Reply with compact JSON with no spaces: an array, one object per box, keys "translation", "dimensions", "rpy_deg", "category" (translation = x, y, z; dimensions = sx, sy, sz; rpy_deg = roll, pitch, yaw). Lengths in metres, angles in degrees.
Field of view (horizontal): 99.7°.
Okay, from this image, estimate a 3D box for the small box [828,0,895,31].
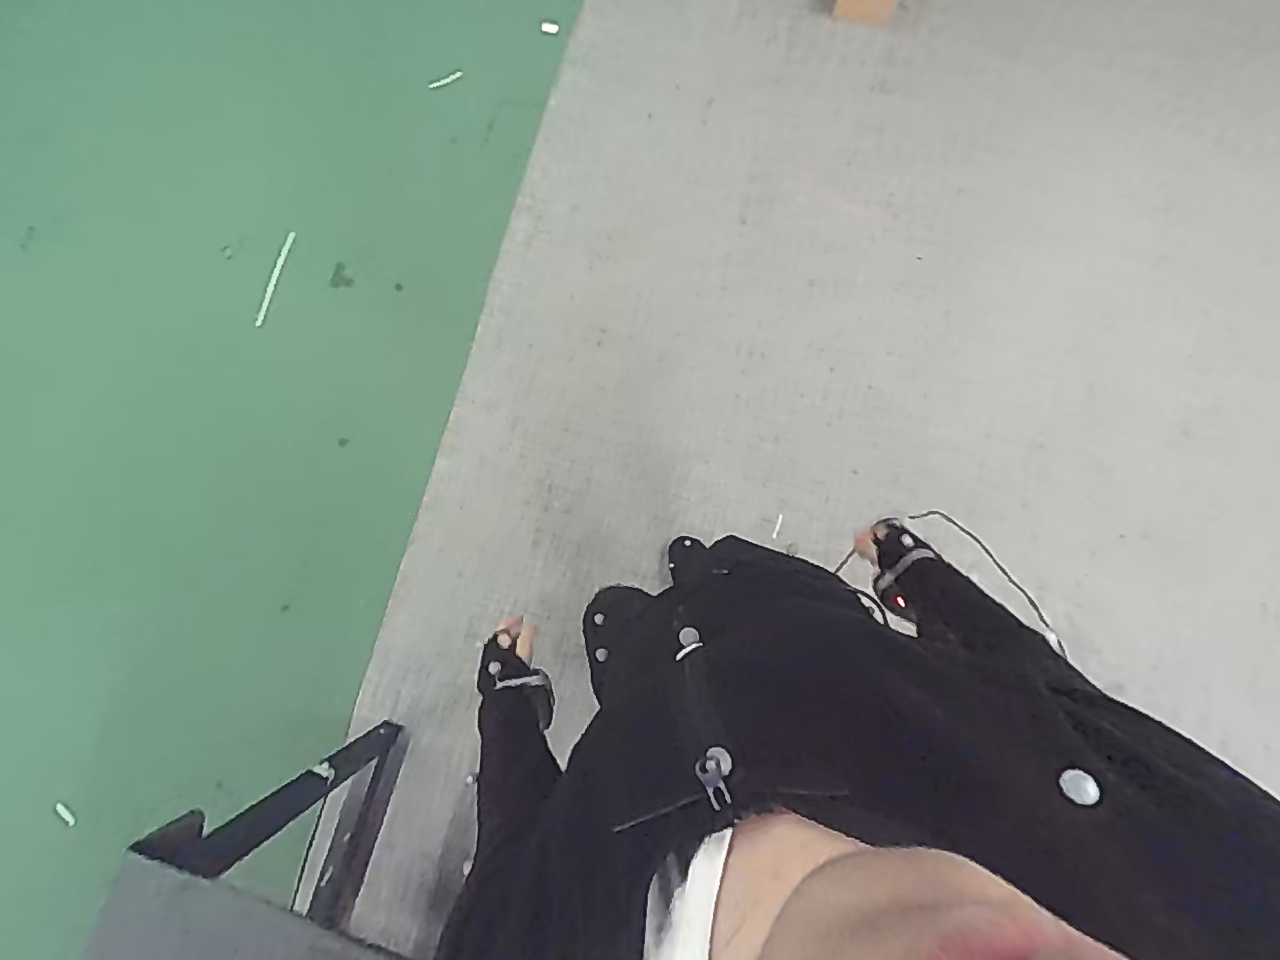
[{"translation":[0.687,-1.502,1.624],"dimensions":[0.179,0.176,0.168],"rpy_deg":[11,83,4],"category":"small box"}]
